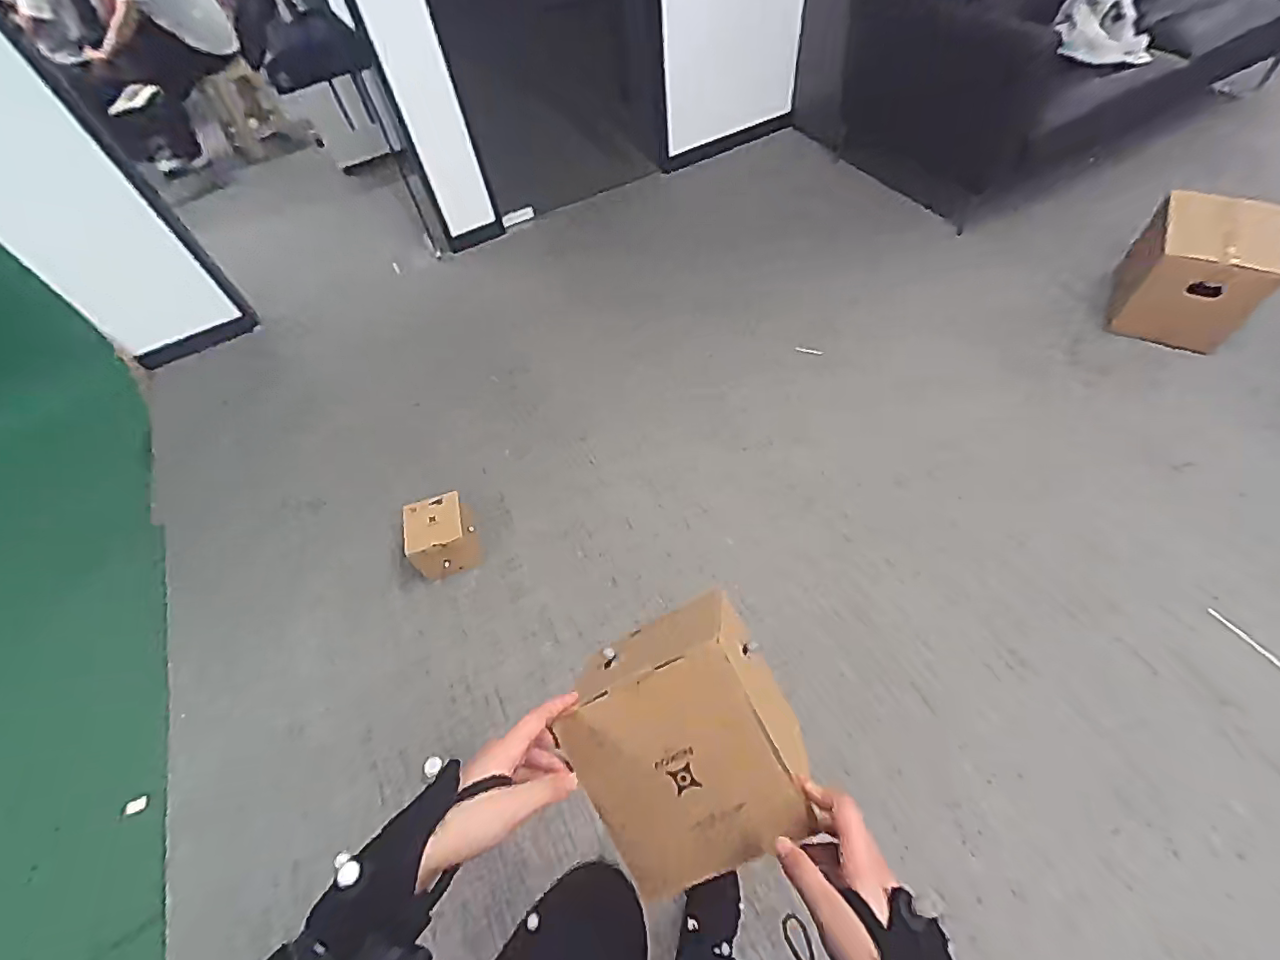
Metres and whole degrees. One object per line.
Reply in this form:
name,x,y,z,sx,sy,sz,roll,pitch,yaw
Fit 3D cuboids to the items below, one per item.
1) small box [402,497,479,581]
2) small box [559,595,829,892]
small box,-0.591,0.183,1.610,0.168,0.176,0.179,-16,56,-5
small box,0.052,0.227,0.520,0.168,0.176,0.179,-30,89,11
